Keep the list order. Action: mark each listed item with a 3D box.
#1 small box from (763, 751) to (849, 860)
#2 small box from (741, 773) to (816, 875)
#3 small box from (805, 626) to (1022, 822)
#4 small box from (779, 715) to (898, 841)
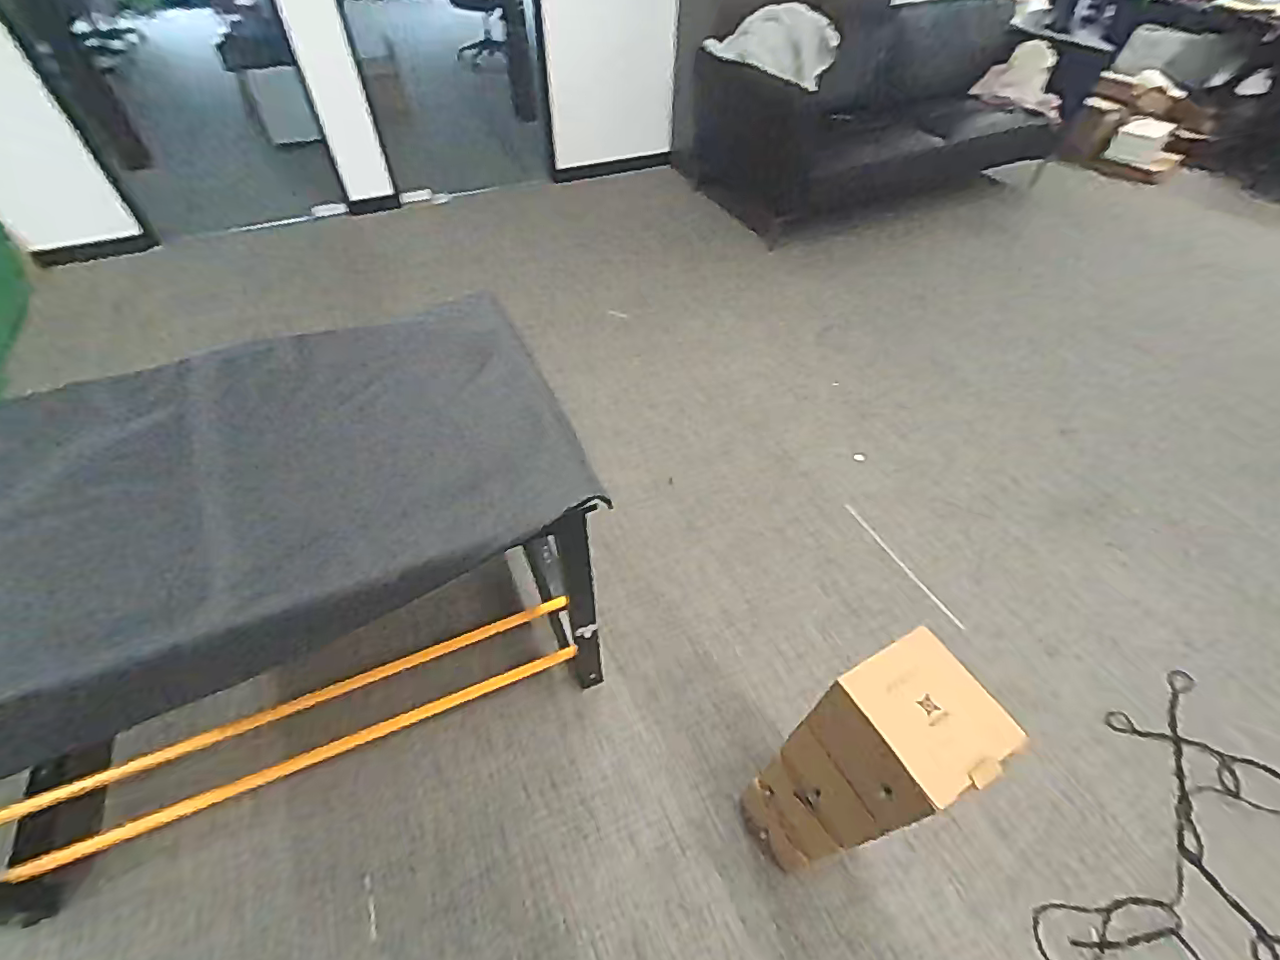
[{"bbox_3d":[0.346,0.560,0.994,0.179,0.176,0.168,-22,53,-22],"label":"small box"},{"bbox_3d":[0.330,0.673,1.113,0.179,0.176,0.168,-24,53,-21],"label":"small box"},{"bbox_3d":[0.362,0.343,0.751,0.168,0.176,0.179,-22,52,-21],"label":"small box"},{"bbox_3d":[0.354,0.450,0.873,0.168,0.176,0.179,-22,54,-21],"label":"small box"}]
